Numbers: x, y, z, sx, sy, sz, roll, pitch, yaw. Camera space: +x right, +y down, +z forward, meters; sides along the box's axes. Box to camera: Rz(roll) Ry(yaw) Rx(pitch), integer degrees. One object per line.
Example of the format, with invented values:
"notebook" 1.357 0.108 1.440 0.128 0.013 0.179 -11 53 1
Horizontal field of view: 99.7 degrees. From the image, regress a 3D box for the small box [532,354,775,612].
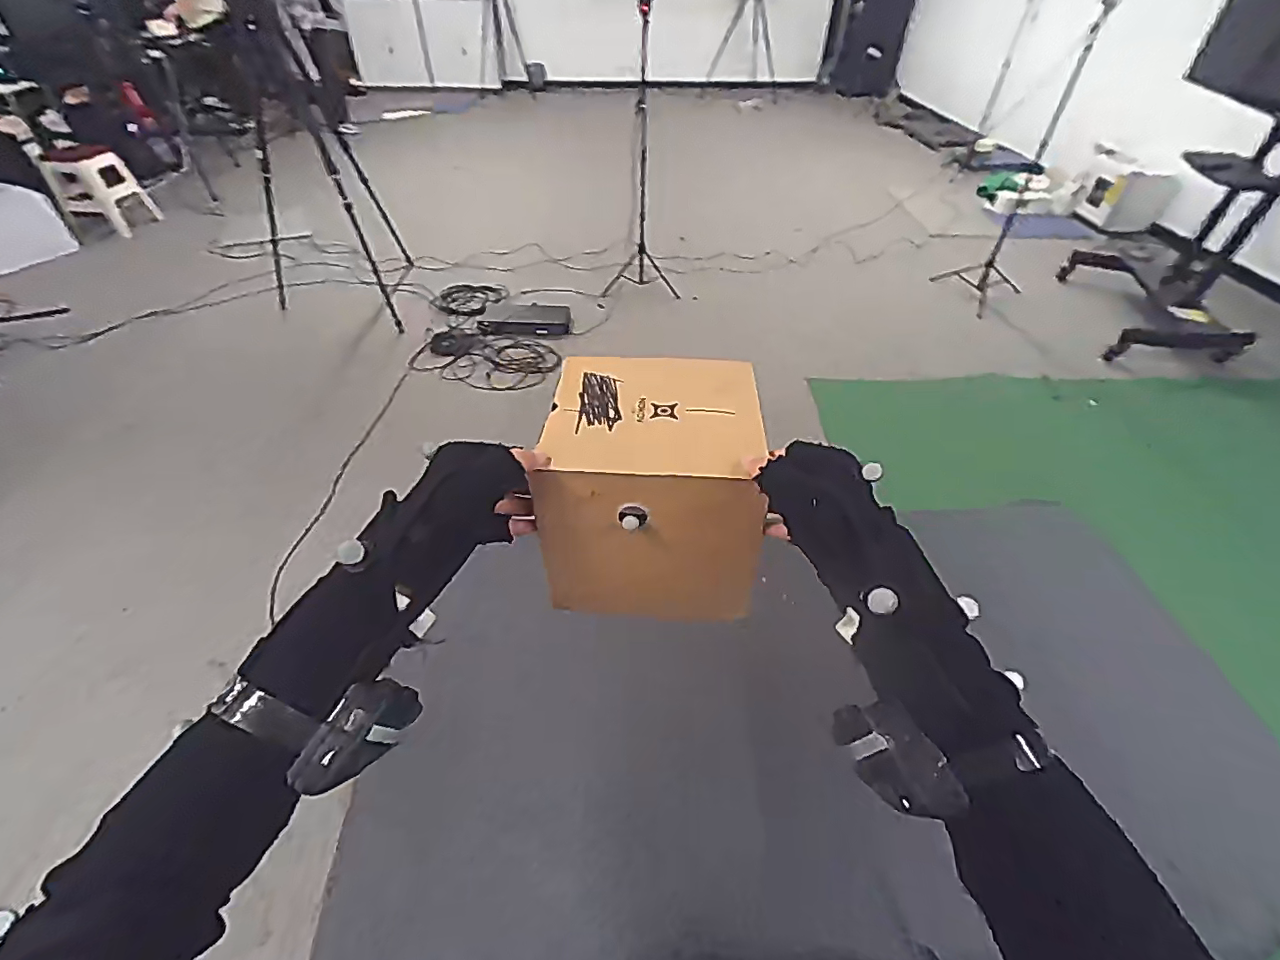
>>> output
"small box" 0.014 0.003 0.491 0.179 0.176 0.168 3 42 2
